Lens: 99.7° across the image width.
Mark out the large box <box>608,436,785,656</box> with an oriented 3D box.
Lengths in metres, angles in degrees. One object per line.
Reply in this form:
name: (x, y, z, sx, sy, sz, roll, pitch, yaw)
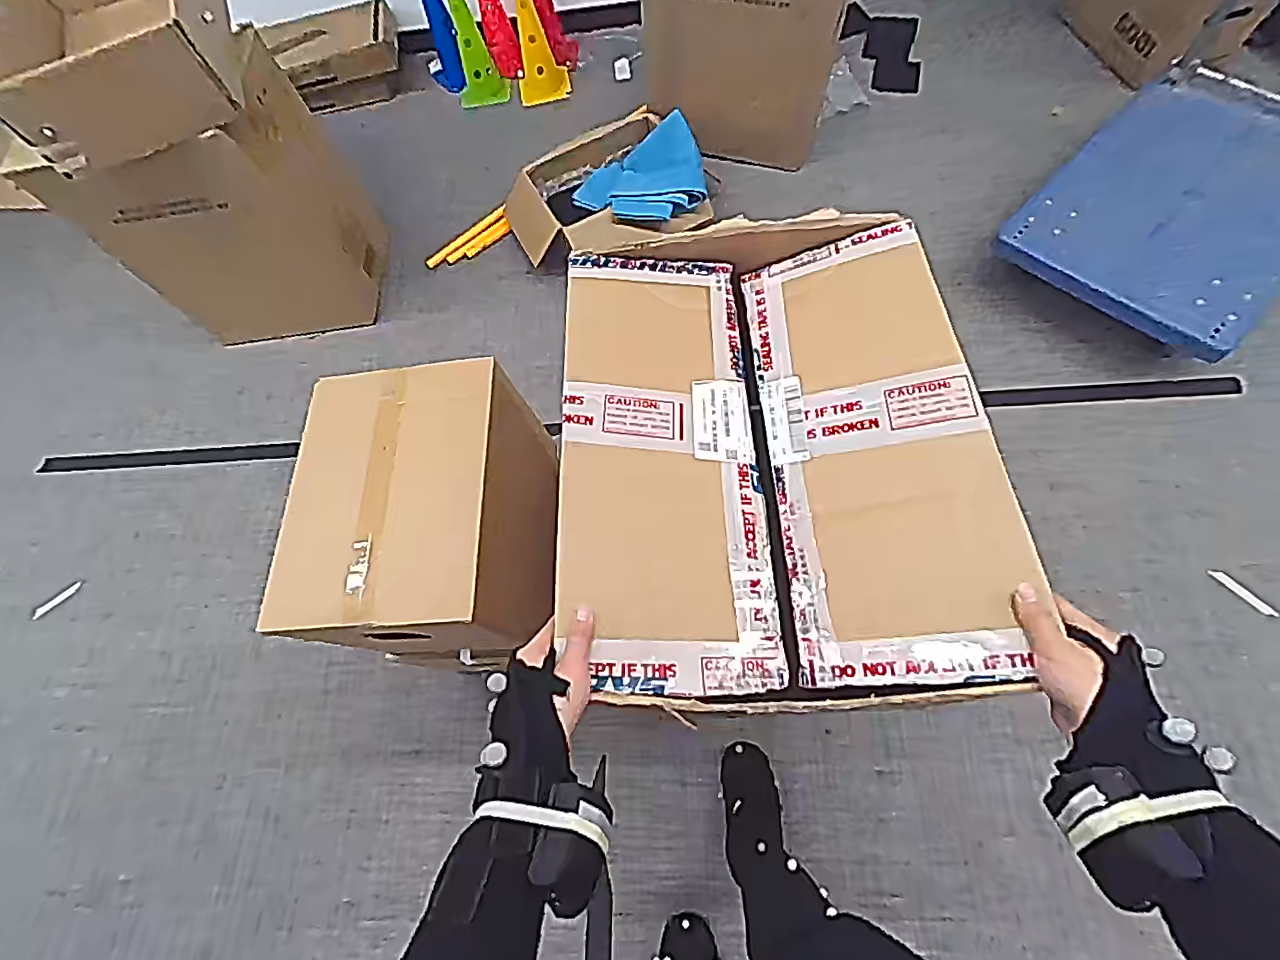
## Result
large box: (0.109, 0.157, 1.181, 0.320, 0.320, 0.408, -4, 67, 5)
